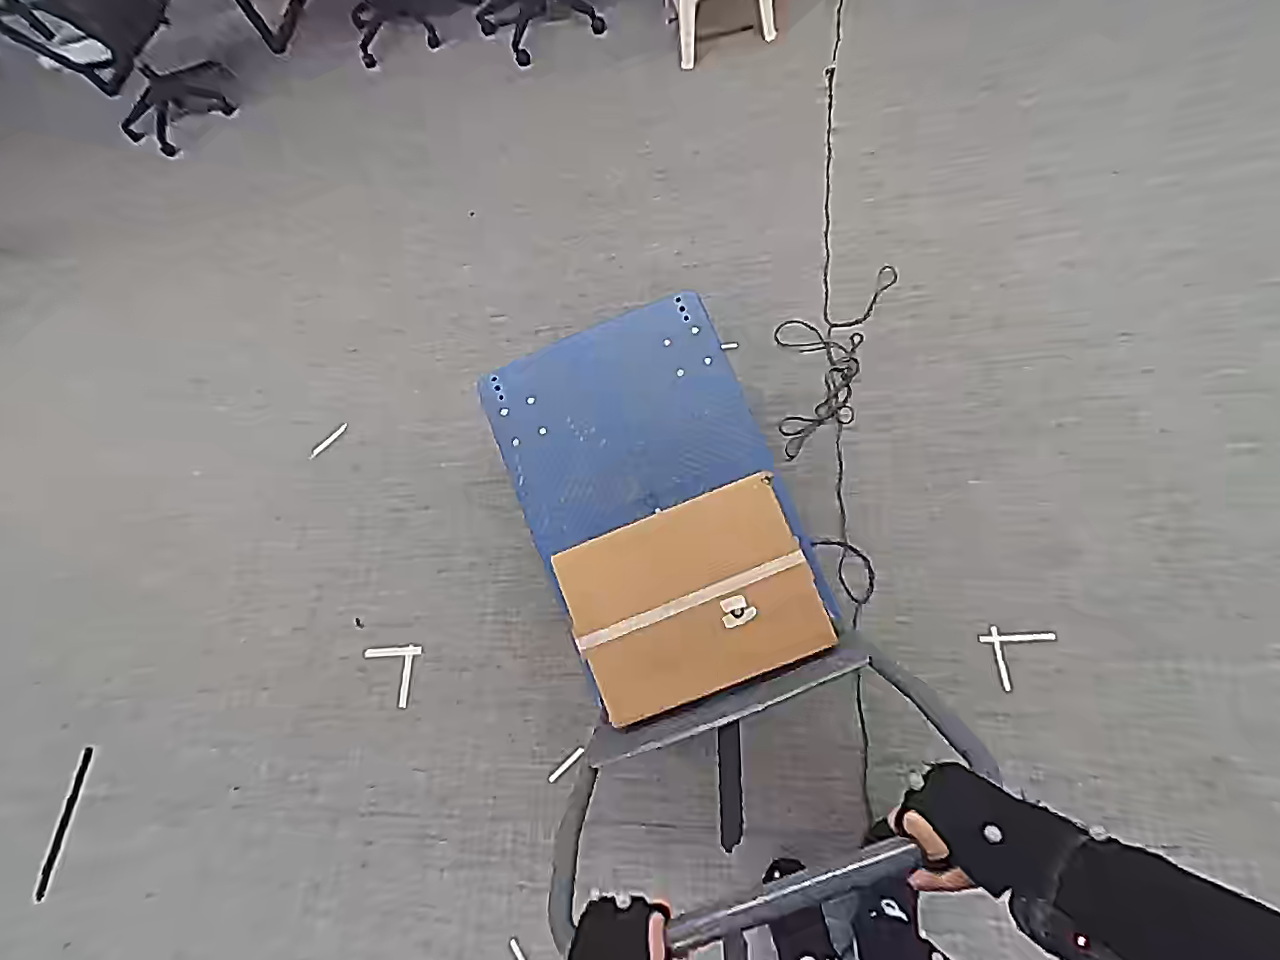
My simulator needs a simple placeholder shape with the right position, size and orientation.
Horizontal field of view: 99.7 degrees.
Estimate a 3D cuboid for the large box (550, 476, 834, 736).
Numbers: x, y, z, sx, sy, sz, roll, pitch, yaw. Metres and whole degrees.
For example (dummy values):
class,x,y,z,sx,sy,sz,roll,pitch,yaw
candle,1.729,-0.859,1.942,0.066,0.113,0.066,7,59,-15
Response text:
class,x,y,z,sx,sy,sz,roll,pitch,yaw
large box,0.091,0.225,1.055,0.408,0.320,0.320,-23,84,2
